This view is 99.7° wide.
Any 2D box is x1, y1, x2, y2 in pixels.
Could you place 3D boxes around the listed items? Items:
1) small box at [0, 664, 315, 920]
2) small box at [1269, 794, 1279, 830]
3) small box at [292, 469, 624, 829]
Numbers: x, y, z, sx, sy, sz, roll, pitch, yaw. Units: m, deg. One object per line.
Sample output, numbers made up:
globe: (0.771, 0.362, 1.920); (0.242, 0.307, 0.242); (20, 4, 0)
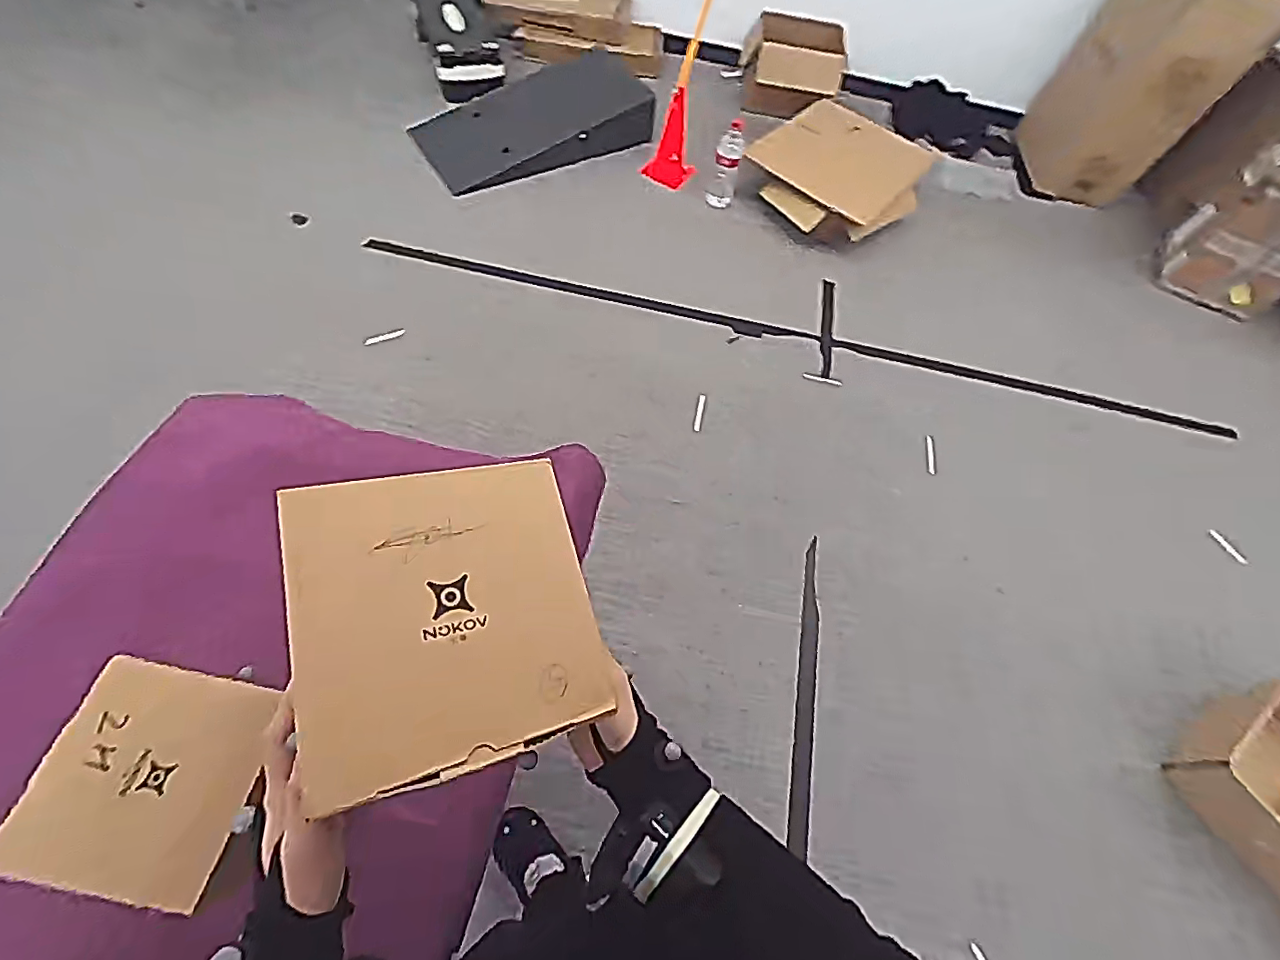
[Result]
small box: (-0.421, 0.294, 0.530); (0.179, 0.176, 0.168); (12, 60, 0)
small box: (1.692, 0.827, 1.289); (0.179, 0.176, 0.168); (-28, 68, -20)
small box: (-0.133, 0.114, 0.385); (0.168, 0.176, 0.179); (-8, 66, -27)
